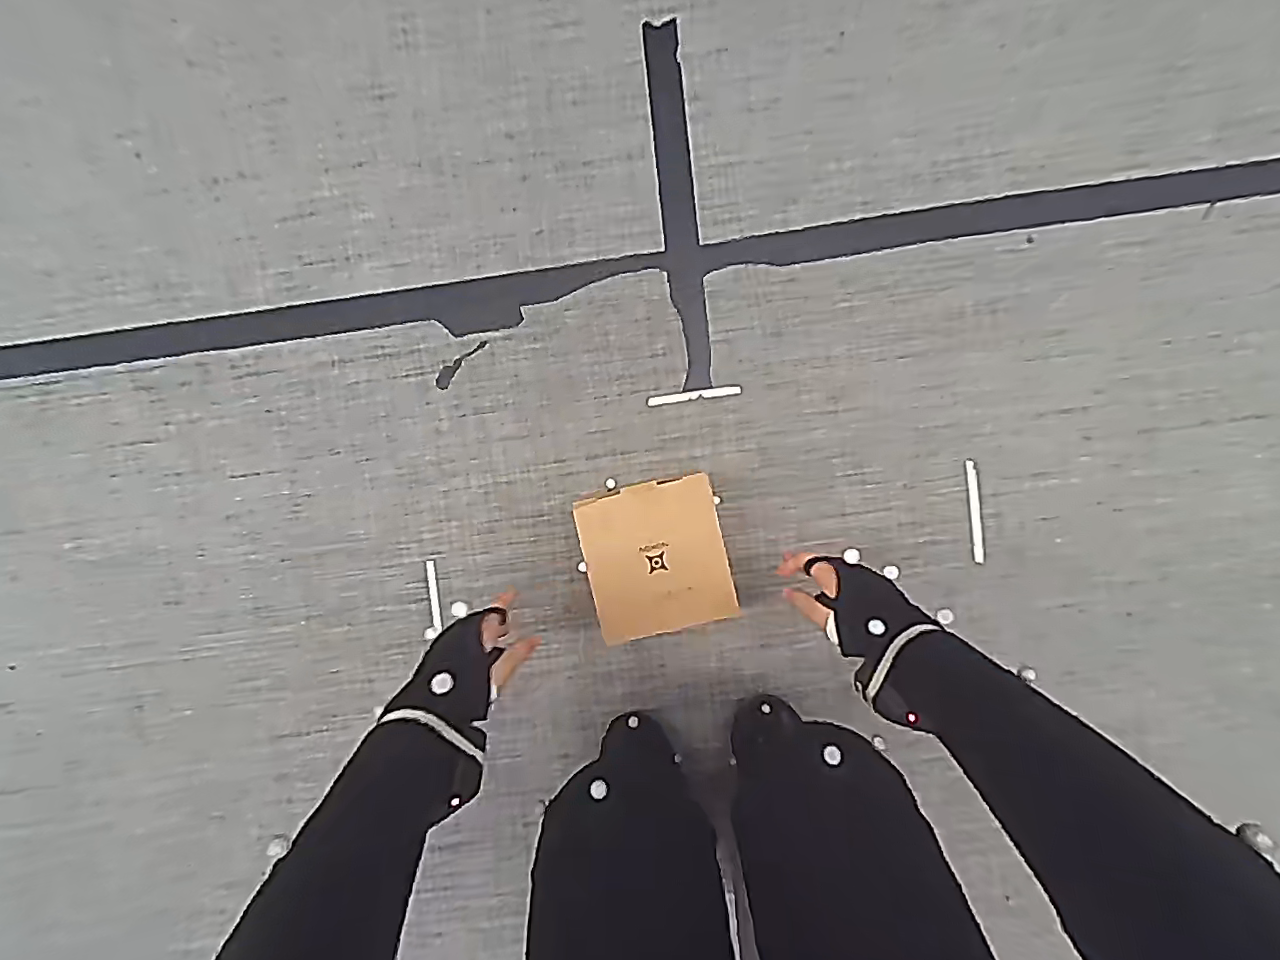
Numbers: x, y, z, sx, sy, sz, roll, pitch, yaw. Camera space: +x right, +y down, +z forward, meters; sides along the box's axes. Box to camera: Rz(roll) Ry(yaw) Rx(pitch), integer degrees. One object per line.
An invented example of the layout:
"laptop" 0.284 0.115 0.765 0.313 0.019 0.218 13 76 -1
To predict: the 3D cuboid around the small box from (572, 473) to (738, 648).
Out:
"small box" 0.017 0.092 0.708 0.168 0.176 0.179 -14 93 2
